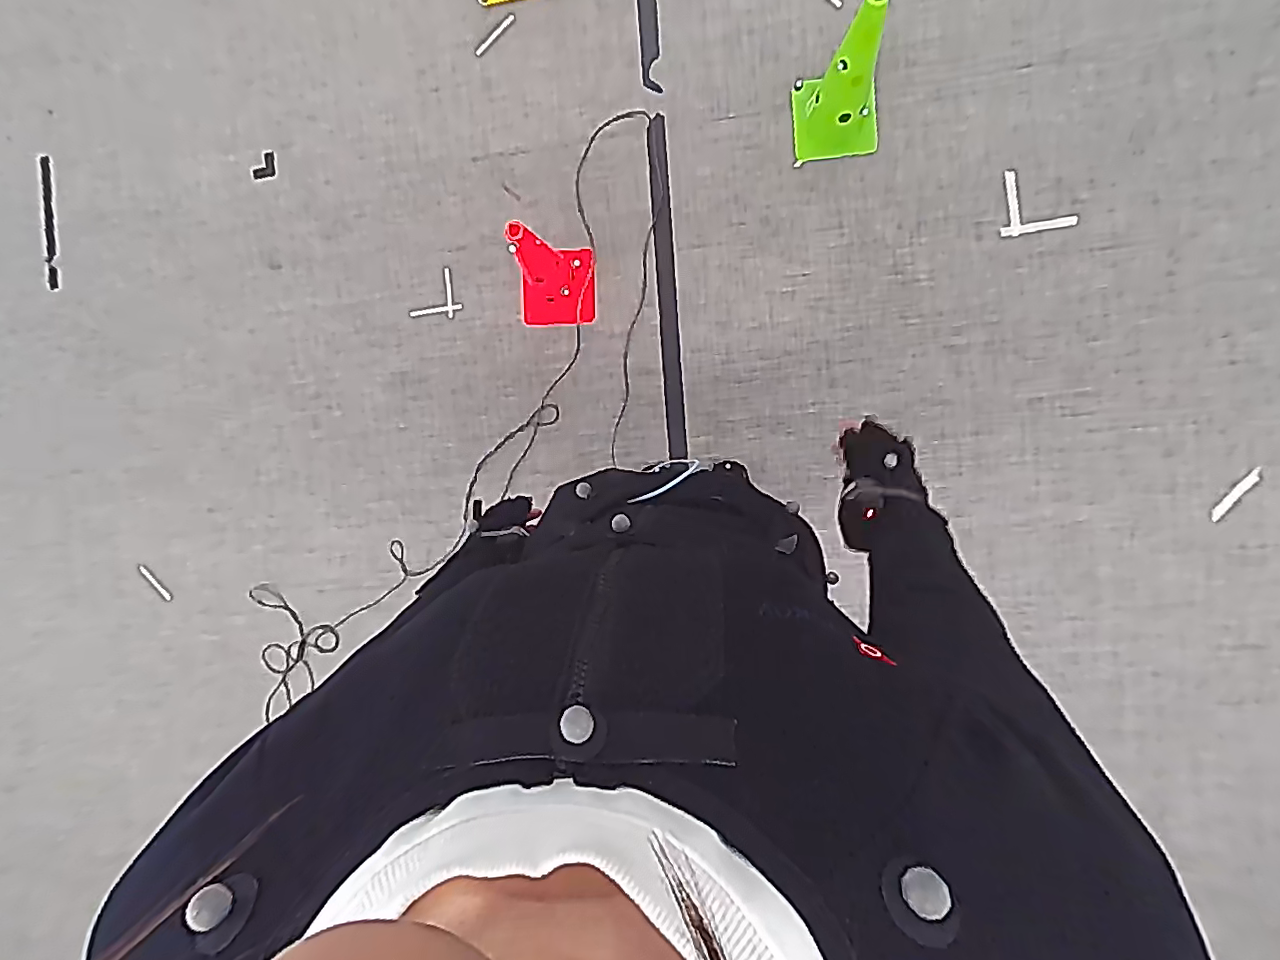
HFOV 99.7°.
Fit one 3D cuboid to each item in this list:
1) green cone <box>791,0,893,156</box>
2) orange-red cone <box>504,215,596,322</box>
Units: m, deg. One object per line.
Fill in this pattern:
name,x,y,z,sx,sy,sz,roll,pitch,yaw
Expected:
green cone,0.468,-0.911,1.178,0.202,0.368,0.200,-4,91,6
orange-red cone,-0.240,-0.521,1.275,0.199,0.360,0.198,0,90,8
